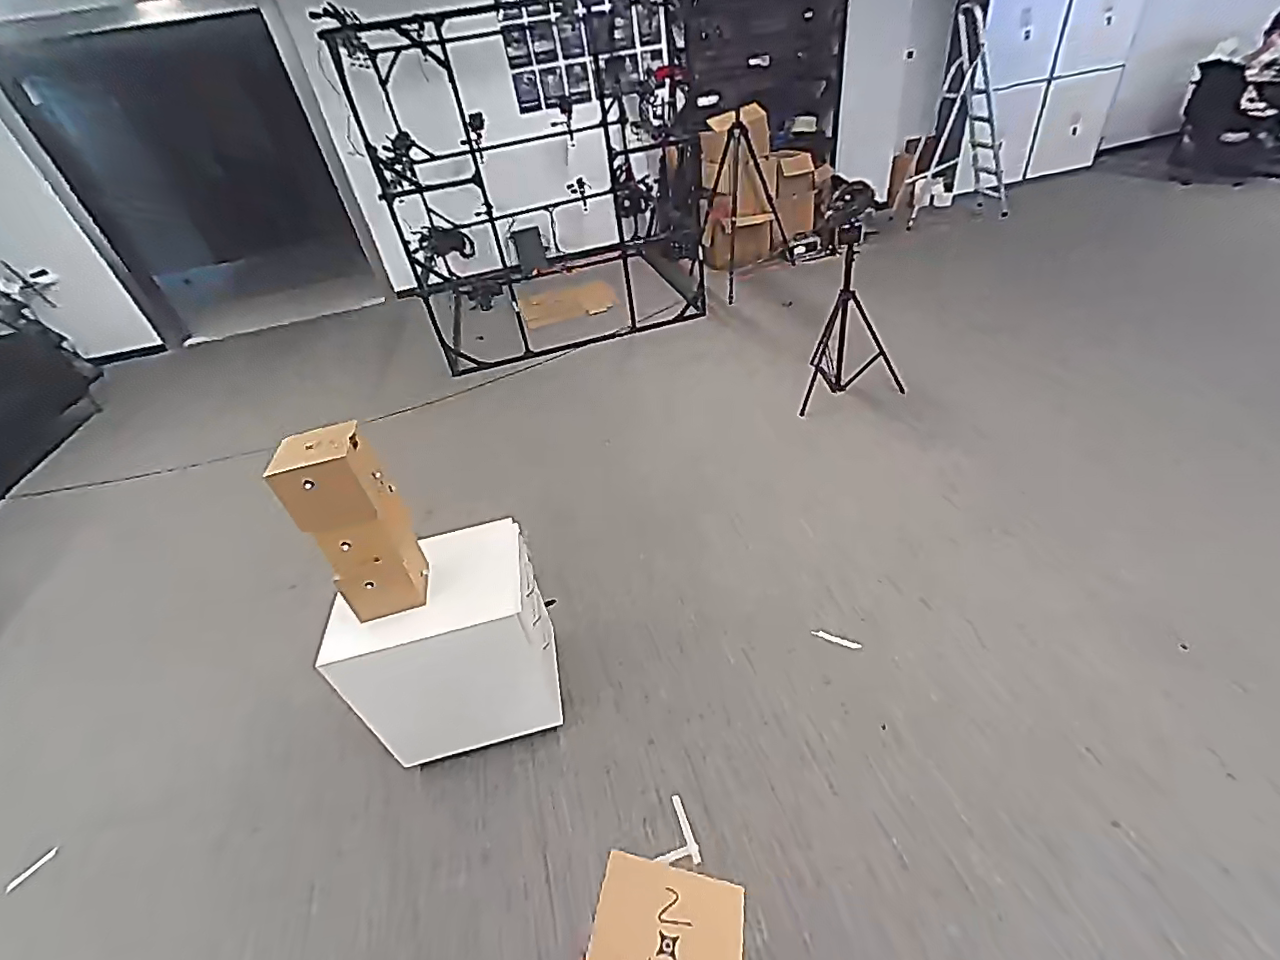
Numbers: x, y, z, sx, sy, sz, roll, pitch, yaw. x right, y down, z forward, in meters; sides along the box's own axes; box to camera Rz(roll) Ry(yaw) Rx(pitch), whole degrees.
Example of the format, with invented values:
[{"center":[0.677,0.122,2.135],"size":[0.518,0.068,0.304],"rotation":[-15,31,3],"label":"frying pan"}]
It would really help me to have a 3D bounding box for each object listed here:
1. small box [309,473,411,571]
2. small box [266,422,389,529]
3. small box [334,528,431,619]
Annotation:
[{"center":[-0.700,0.111,1.376],"size":[0.168,0.176,0.179],"rotation":[-14,37,-6],"label":"small box"},{"center":[-0.716,-0.009,1.262],"size":[0.179,0.176,0.168],"rotation":[-14,38,-6],"label":"small box"},{"center":[-0.688,0.249,1.463],"size":[0.179,0.176,0.168],"rotation":[-14,38,-8],"label":"small box"}]
